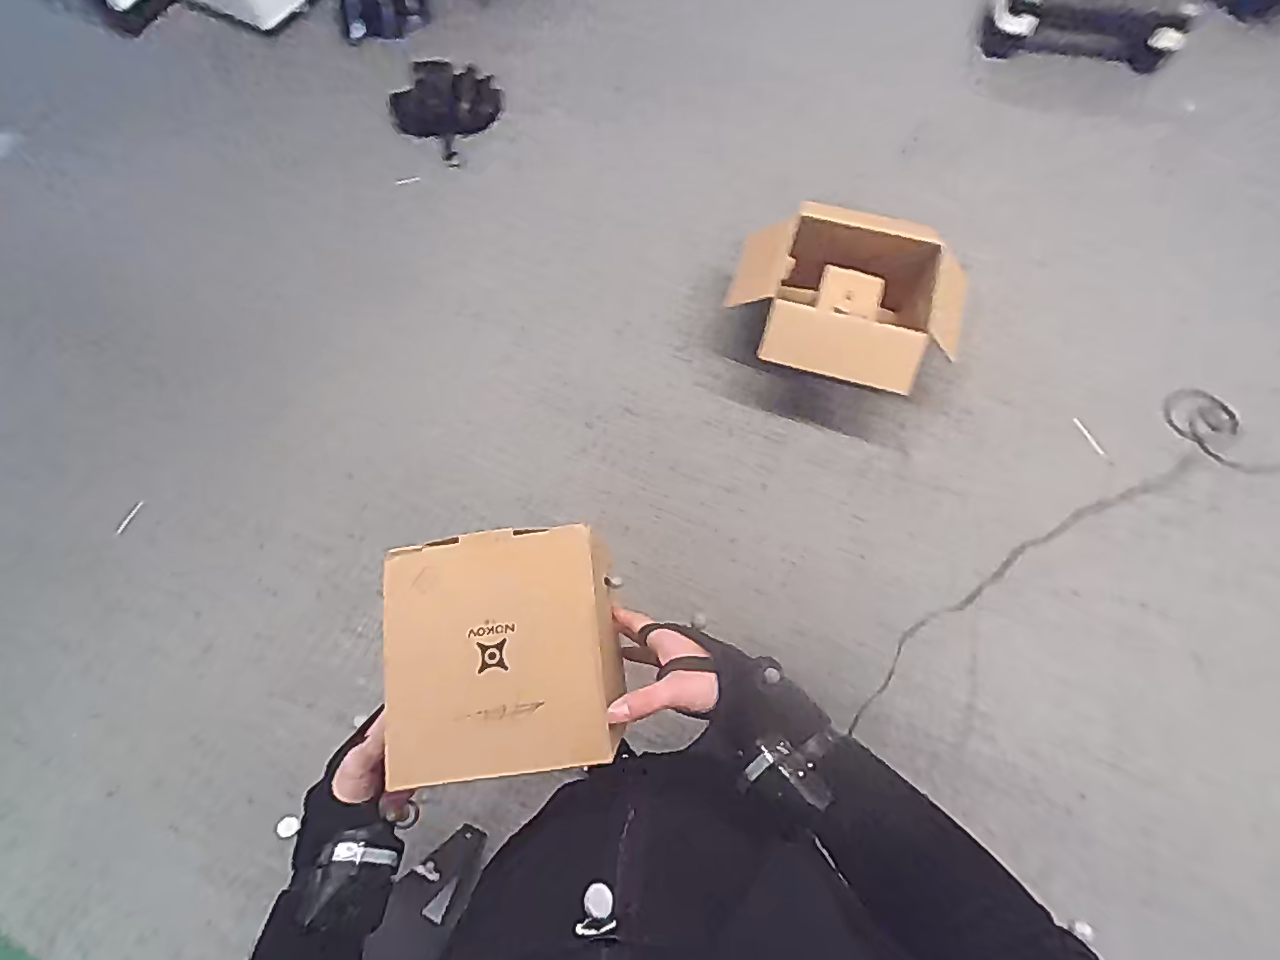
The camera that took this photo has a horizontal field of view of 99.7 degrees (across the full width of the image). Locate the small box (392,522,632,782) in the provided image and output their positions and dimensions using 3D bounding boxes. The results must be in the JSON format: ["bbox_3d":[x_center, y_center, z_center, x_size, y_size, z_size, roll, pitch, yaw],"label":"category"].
[{"bbox_3d":[-0.099,0.144,0.481,0.168,0.176,0.179,-7,76,2],"label":"small box"}]
